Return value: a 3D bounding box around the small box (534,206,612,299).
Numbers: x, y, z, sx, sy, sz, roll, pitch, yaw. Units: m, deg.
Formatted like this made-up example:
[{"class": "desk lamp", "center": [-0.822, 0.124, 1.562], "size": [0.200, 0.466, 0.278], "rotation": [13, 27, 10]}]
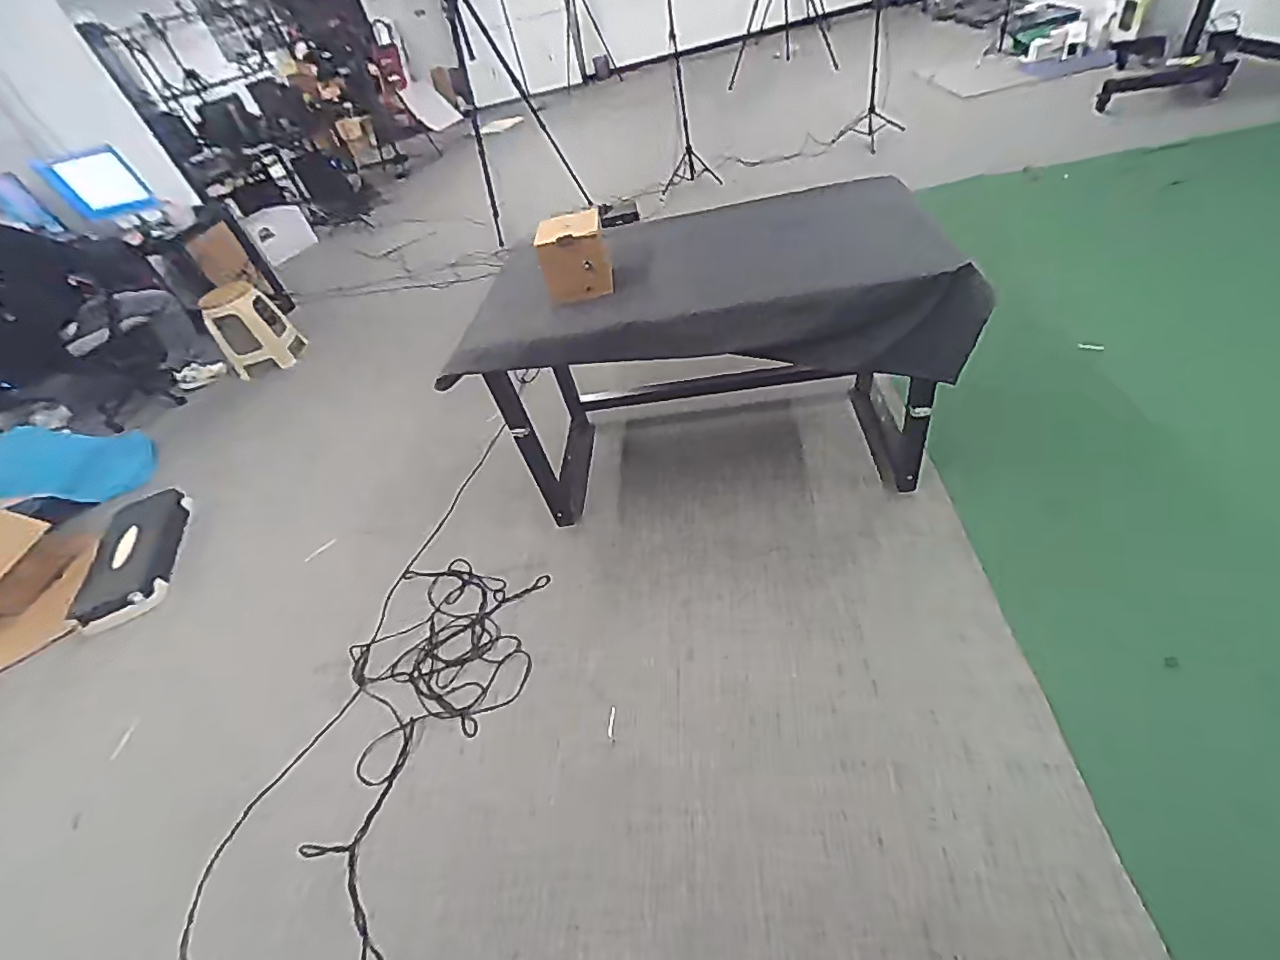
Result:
[{"class": "small box", "center": [-0.172, -0.599, 1.441], "size": [0.168, 0.176, 0.179], "rotation": [-10, 43, 5]}]
